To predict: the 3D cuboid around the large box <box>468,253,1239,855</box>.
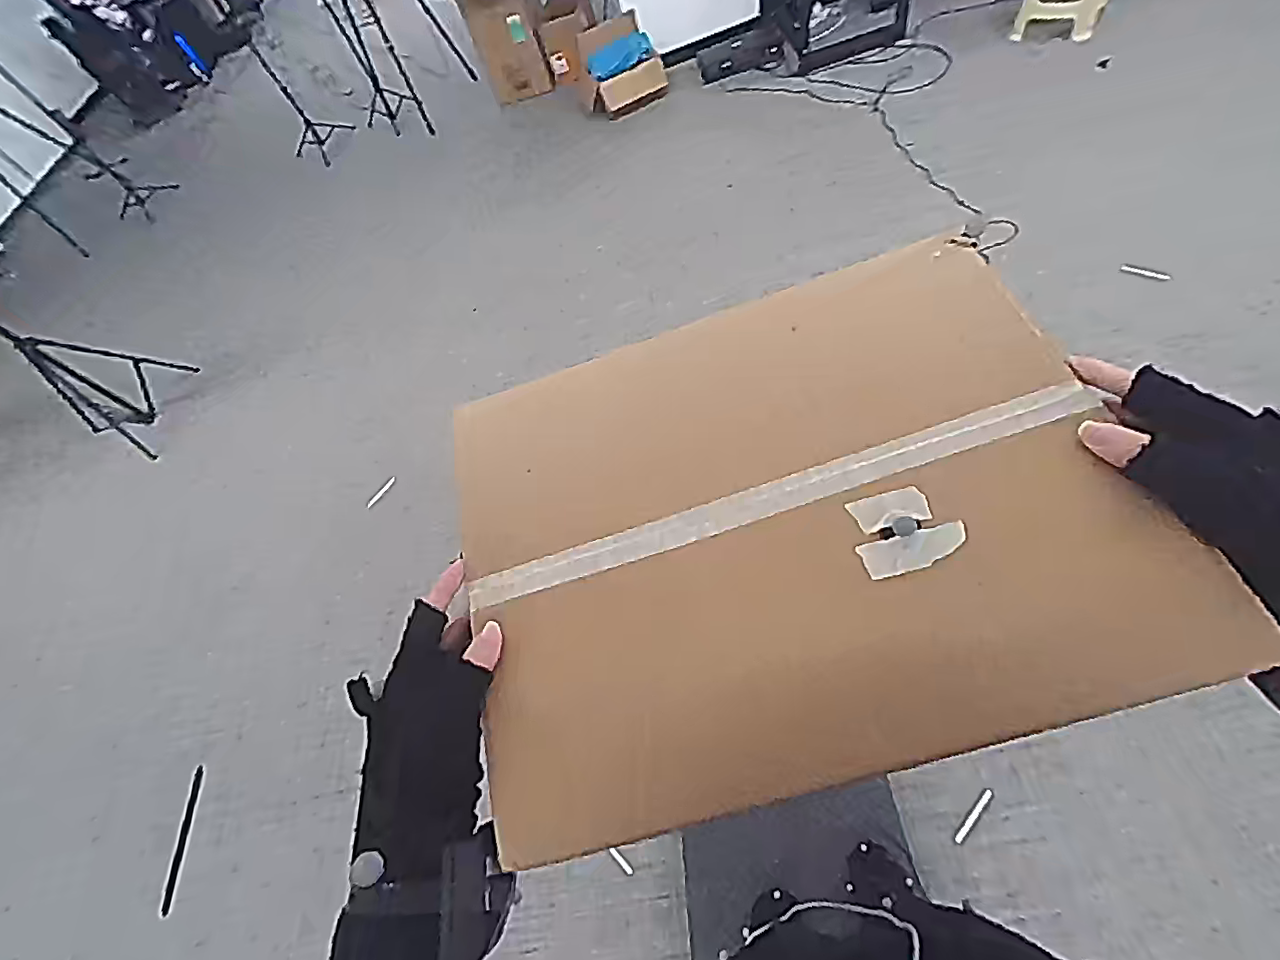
[{"bbox_3d":[0.113,0.081,0.488,0.408,0.320,0.320,-18,63,5],"label":"large box"}]
